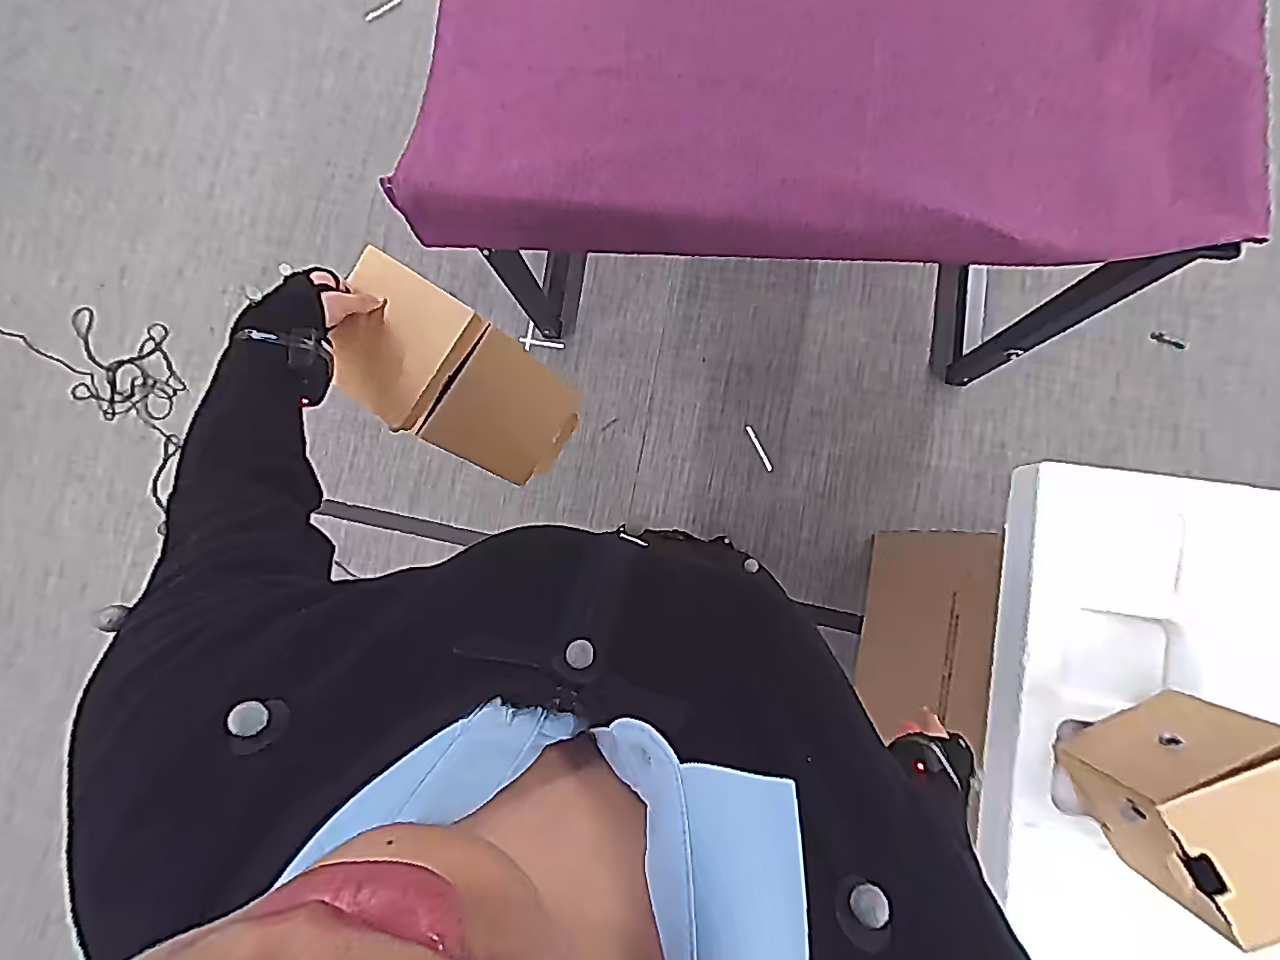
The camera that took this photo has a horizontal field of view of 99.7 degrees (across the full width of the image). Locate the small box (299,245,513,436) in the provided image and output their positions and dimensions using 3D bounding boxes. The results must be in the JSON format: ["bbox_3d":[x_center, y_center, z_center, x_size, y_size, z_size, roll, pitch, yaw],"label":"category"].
[{"bbox_3d":[-0.295,-0.171,0.728,0.179,0.176,0.168,34,90,-1],"label":"small box"}]
